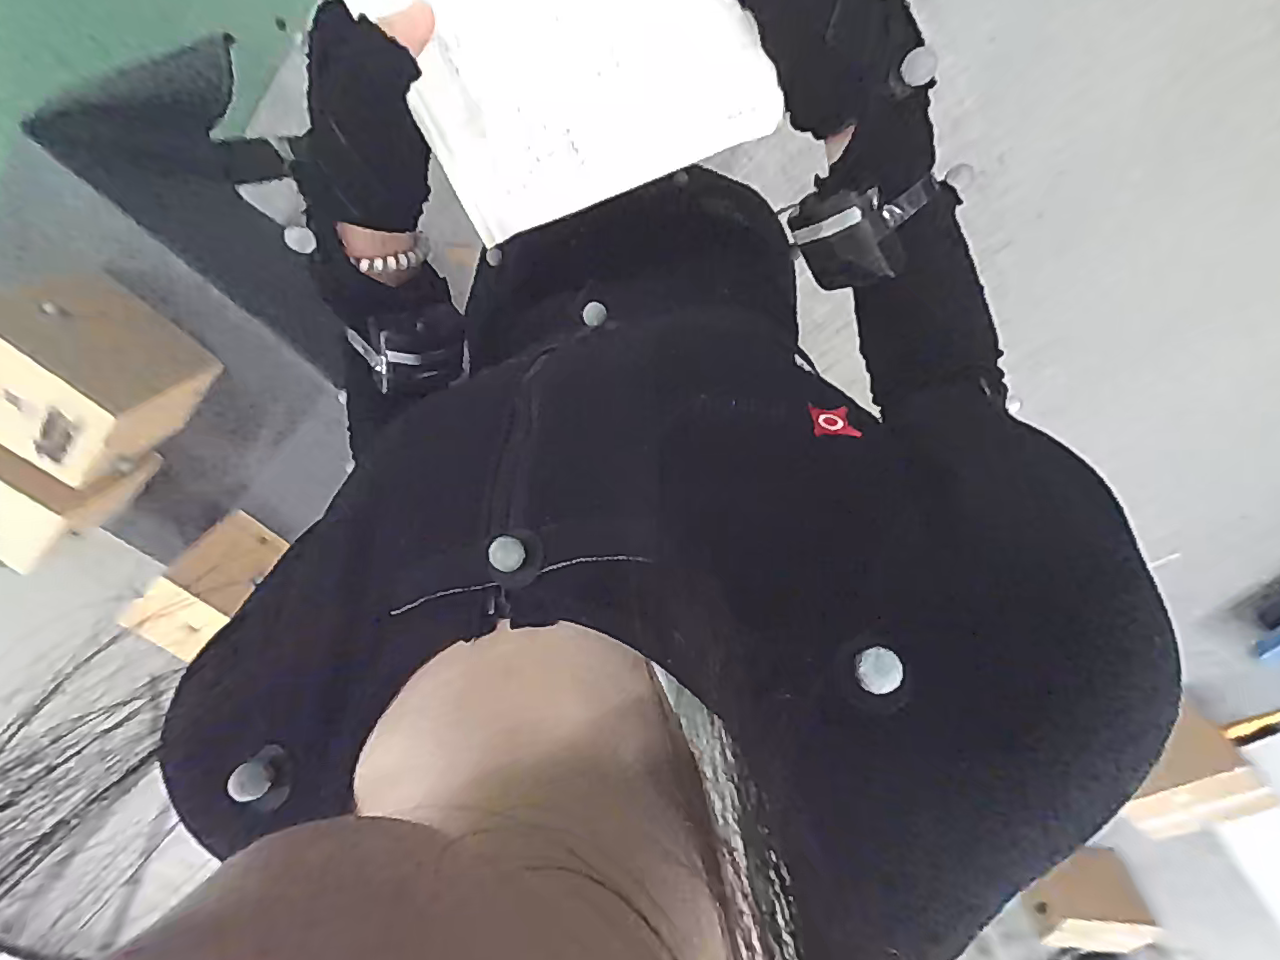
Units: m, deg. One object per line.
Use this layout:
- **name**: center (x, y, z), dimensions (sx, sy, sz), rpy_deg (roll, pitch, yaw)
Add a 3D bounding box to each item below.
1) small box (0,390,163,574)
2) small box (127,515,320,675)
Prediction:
- **small box**: center (-0.874, 0.000, 0.801), dimensions (0.179, 0.176, 0.168), rpy_deg (-33, 115, 24)
- **small box**: center (-0.683, 0.189, 0.911), dimensions (0.179, 0.176, 0.168), rpy_deg (-33, 115, 25)
